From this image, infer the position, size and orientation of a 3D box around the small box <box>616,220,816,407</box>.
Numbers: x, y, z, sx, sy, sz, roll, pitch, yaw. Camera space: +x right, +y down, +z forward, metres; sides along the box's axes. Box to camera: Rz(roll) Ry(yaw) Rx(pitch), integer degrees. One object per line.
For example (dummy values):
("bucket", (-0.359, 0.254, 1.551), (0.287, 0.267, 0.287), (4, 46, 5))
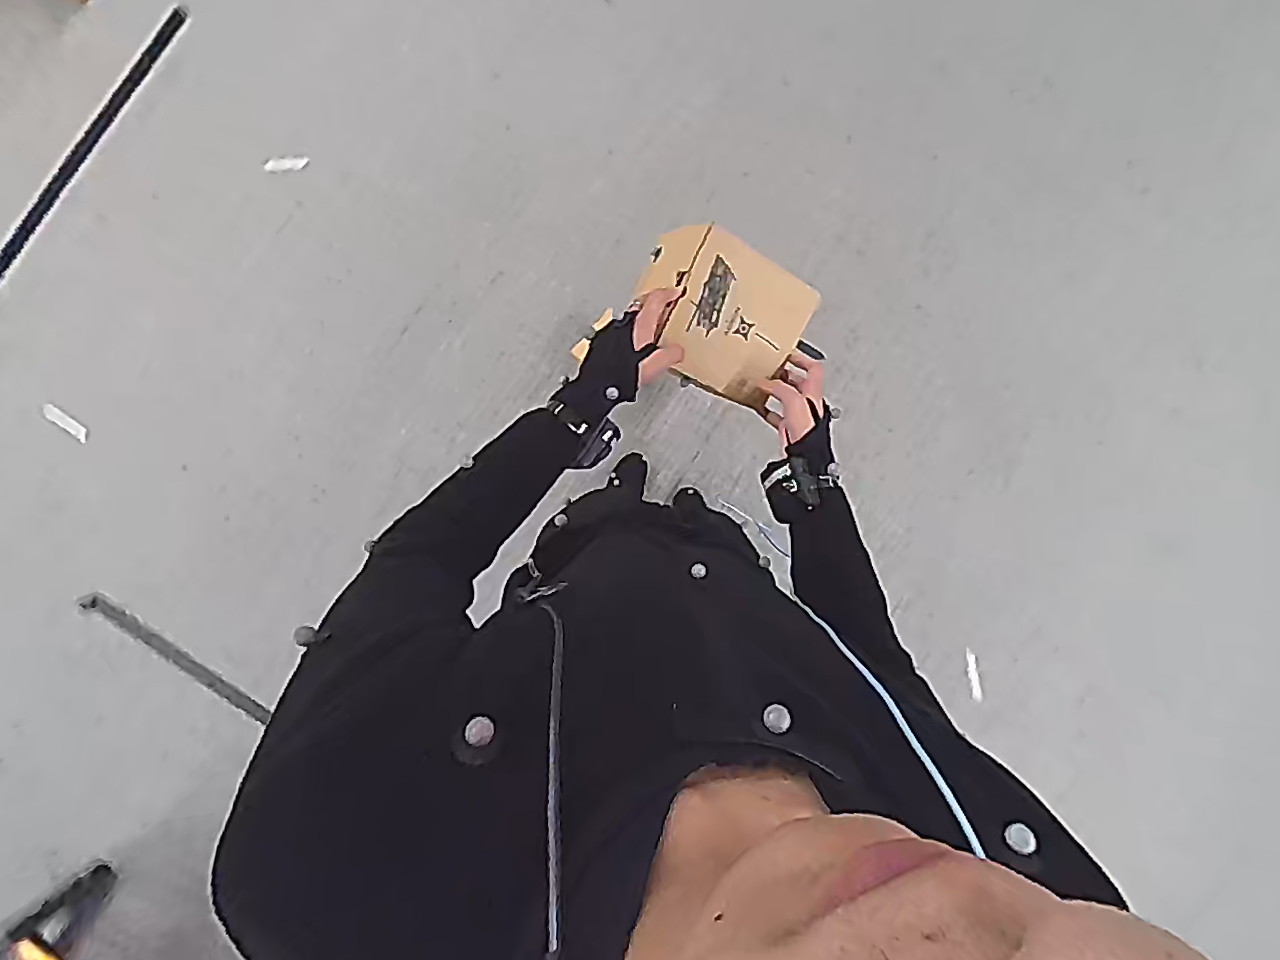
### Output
("small box", (0.089, -0.217, 0.725), (0.179, 0.176, 0.168), (21, 101, -25))

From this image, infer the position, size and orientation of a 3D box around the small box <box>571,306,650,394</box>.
("small box", (-0.073, -0.367, 1.570), (0.179, 0.176, 0.168), (42, 89, 1))
